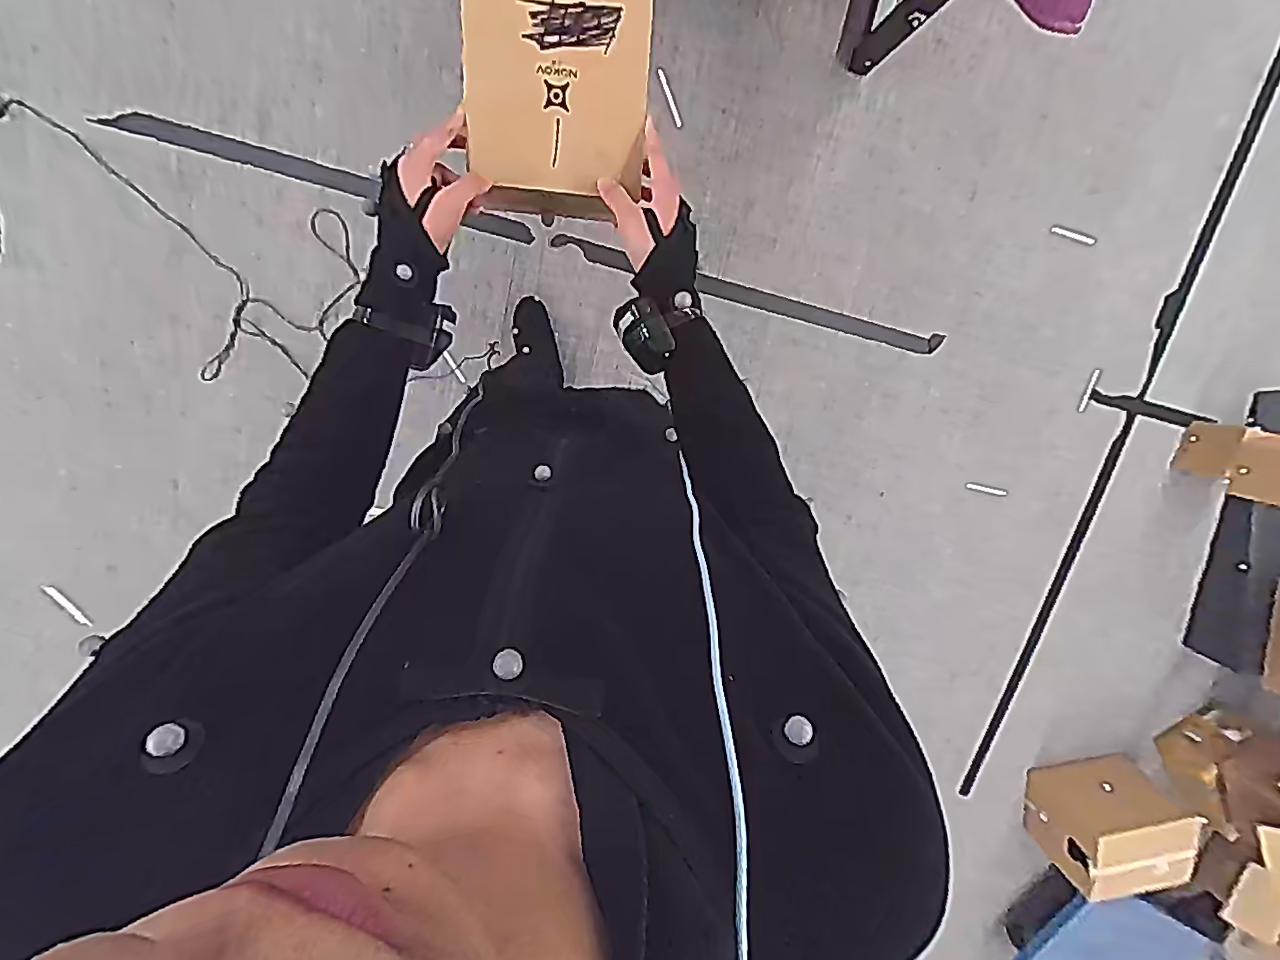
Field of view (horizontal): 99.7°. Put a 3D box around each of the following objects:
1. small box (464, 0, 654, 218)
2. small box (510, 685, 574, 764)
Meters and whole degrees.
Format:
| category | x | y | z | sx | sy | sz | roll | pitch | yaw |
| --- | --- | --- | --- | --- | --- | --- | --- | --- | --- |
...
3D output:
| category | x | y | z | sx | sy | sz | roll | pitch | yaw |
| --- | --- | --- | --- | --- | --- | --- | --- | --- | --- |
| small box | -0.088 | -0.384 | 0.559 | 0.168 | 0.176 | 0.179 | 1 | 109 | -11 |
| small box | -0.317 | 0.791 | 1.762 | 0.179 | 0.176 | 0.168 | 9 | 104 | -11 |
